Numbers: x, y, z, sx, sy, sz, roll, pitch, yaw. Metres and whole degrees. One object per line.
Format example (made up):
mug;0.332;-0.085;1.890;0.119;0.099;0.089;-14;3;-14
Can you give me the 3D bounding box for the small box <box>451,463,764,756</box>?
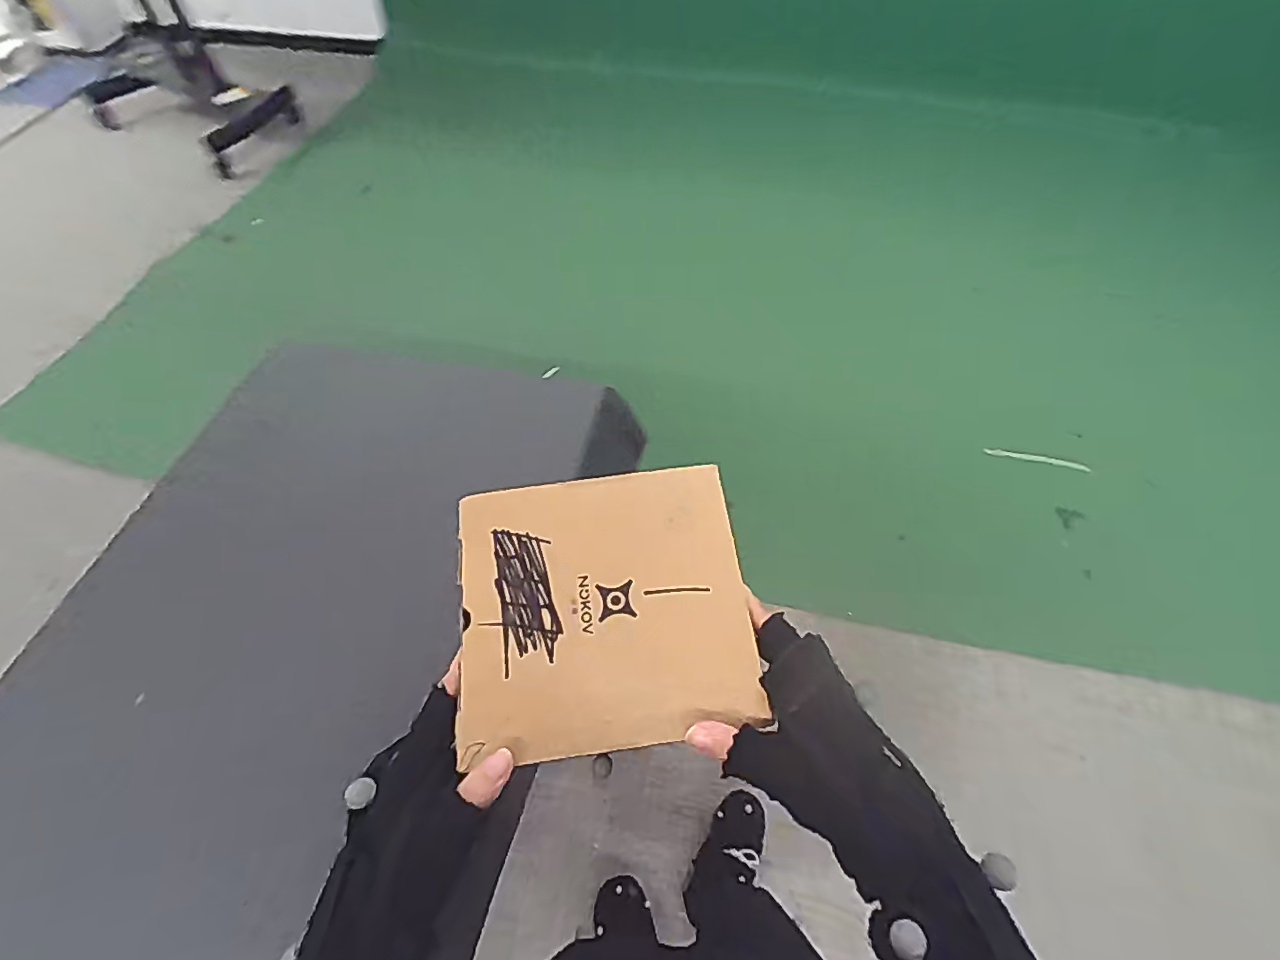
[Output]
small box;-0.021;0.105;0.400;0.179;0.176;0.168;-6;65;-1
